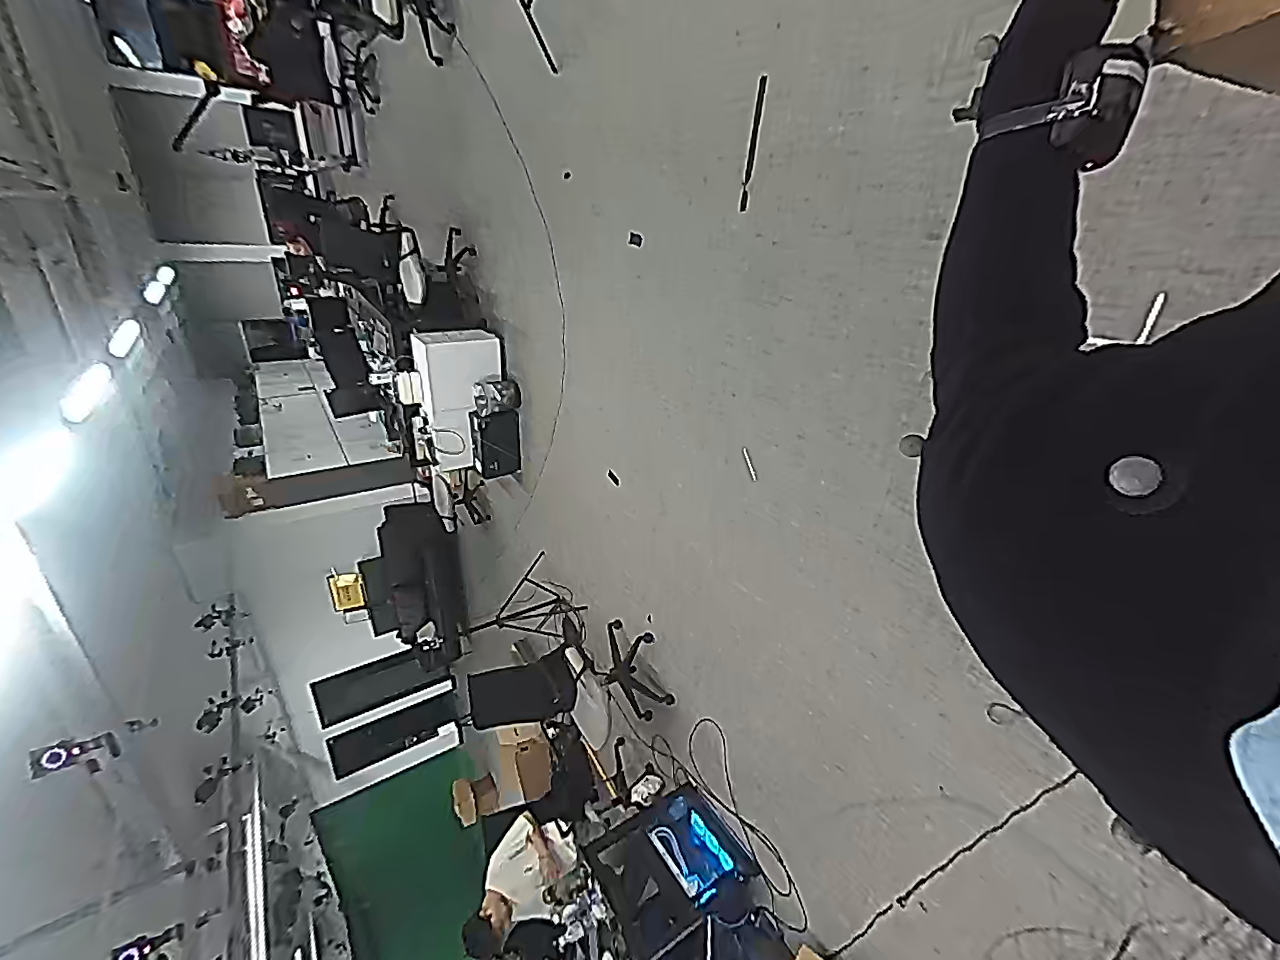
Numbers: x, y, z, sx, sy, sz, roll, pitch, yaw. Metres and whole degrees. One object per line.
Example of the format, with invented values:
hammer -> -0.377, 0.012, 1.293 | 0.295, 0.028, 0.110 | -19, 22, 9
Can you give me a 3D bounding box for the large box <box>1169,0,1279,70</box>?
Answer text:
large box -> 0.568, -0.459, 0.237 | 0.408, 0.320, 0.320 | 14, 116, 60
